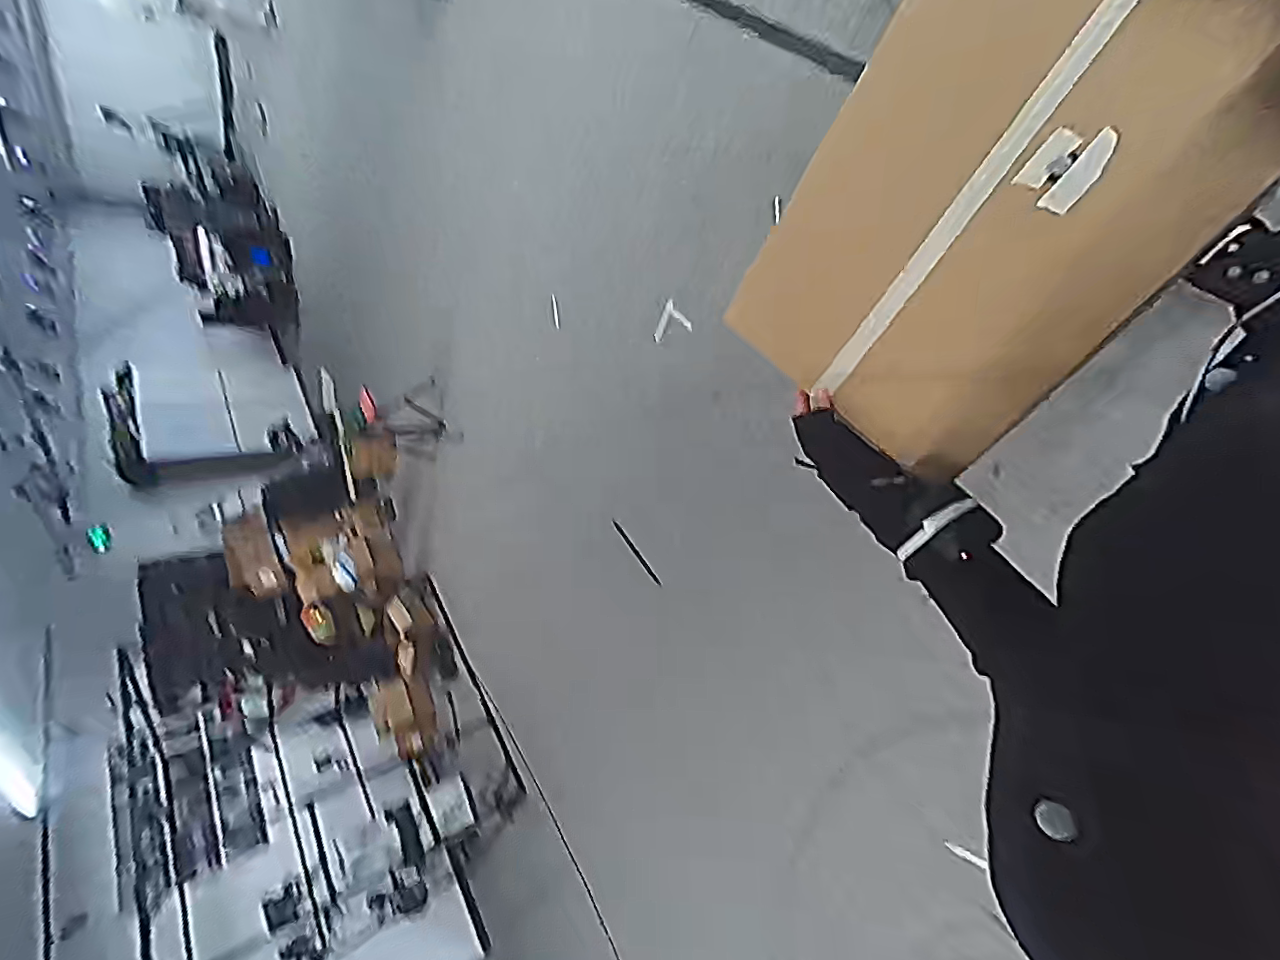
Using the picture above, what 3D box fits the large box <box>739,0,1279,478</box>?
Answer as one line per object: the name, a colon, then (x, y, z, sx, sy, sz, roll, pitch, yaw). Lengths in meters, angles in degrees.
large box: (0.392, -0.268, 0.604, 0.320, 0.320, 0.408, 48, 129, 22)
